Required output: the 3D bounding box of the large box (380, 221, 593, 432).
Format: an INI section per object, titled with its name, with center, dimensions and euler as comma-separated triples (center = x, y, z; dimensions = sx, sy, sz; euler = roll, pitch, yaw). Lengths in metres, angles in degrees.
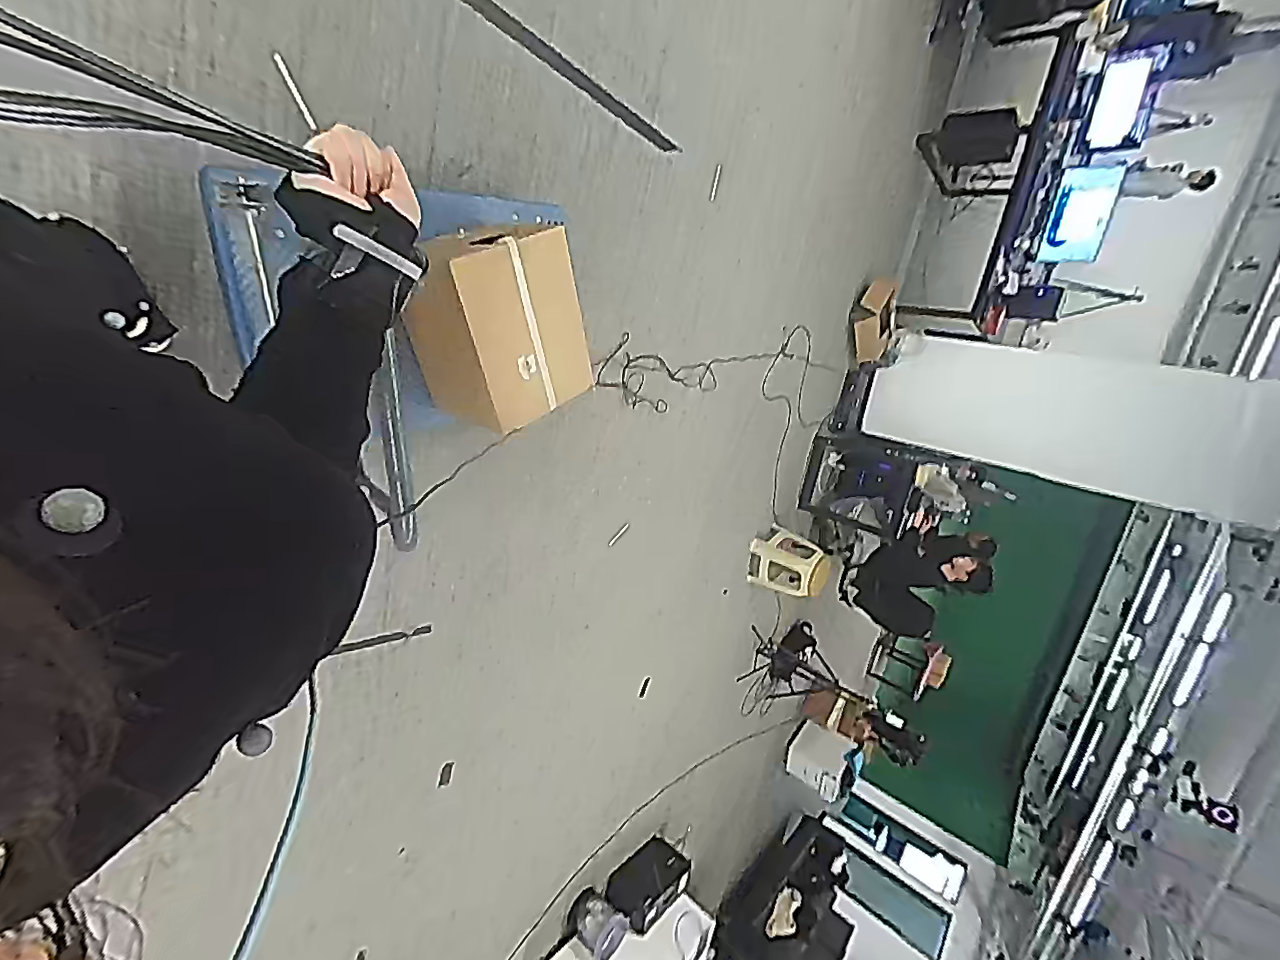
[large box]
center = -0.363, -0.391, 1.339
dimensions = 0.320, 0.320, 0.408
euler = -37, 134, -34
